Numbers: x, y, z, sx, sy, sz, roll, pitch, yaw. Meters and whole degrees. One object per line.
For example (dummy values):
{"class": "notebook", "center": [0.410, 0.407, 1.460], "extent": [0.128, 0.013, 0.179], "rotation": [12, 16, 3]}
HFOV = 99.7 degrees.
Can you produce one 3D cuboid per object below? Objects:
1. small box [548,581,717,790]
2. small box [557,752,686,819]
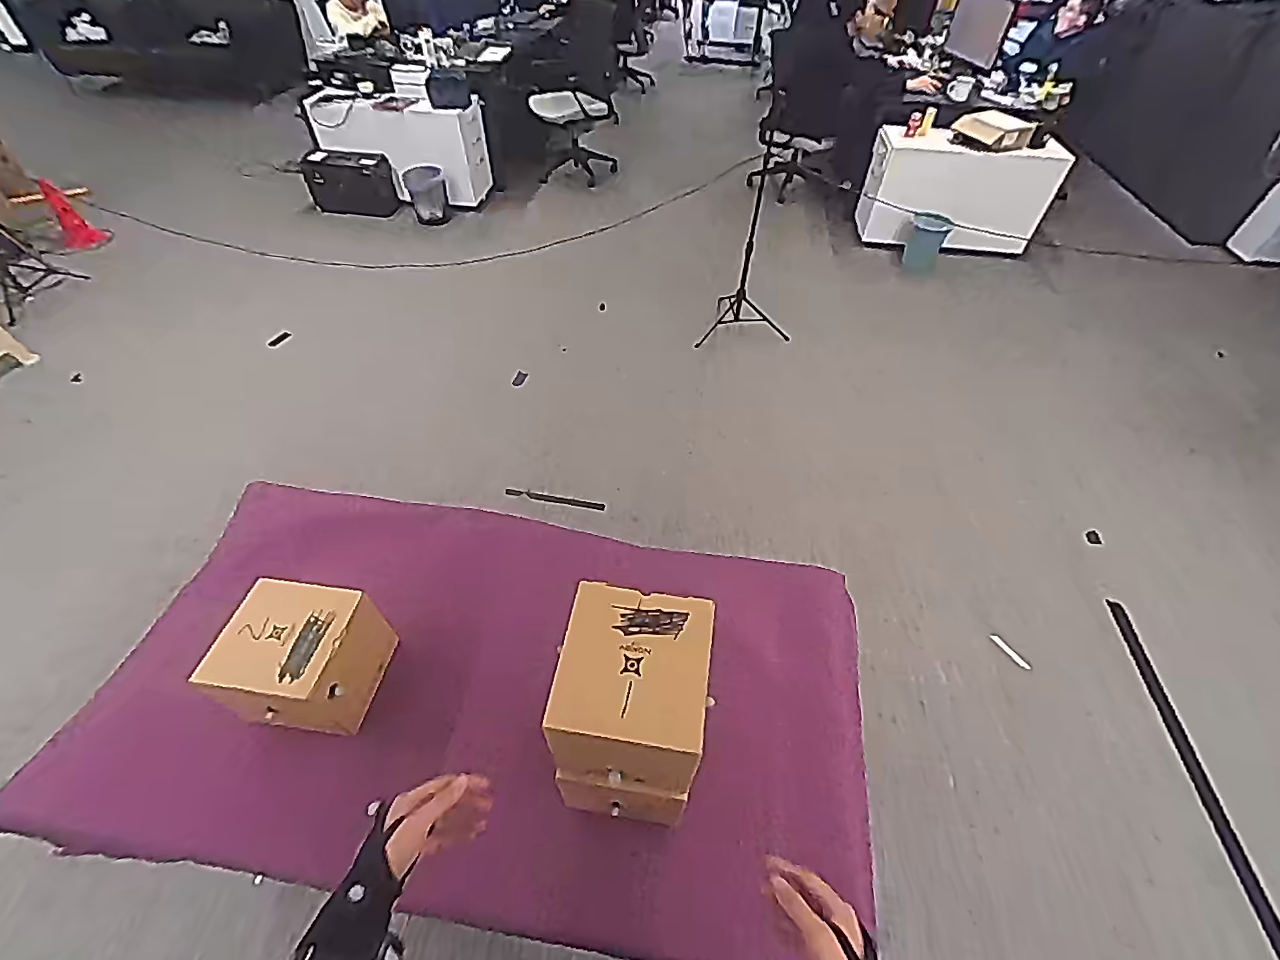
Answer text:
{"class": "small box", "center": [-0.004, 0.252, 0.663], "extent": [0.168, 0.176, 0.179], "rotation": [8, 50, 6]}
{"class": "small box", "center": [-0.011, 0.368, 0.780], "extent": [0.168, 0.176, 0.179], "rotation": [8, 49, 5]}
